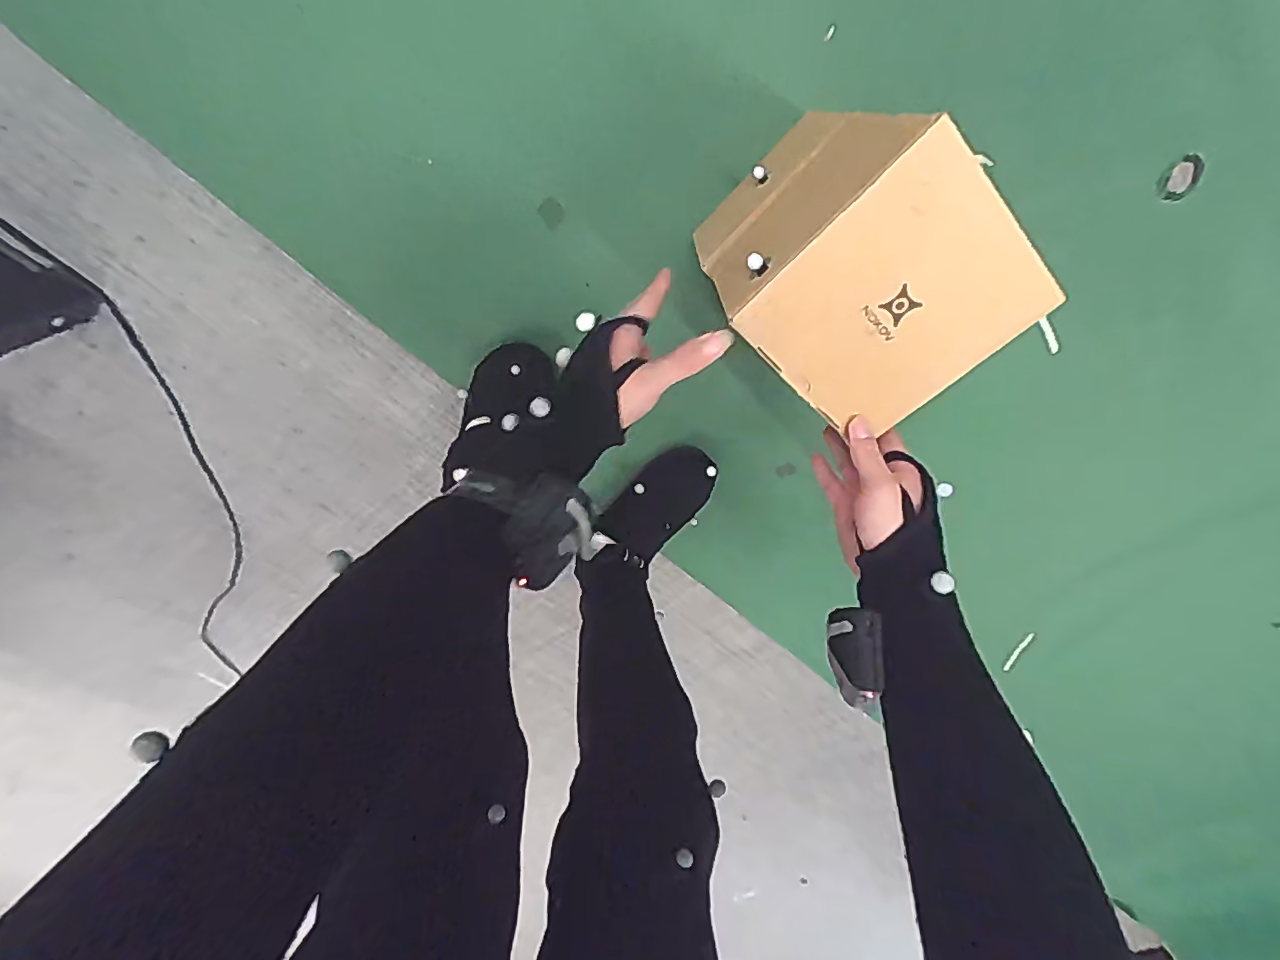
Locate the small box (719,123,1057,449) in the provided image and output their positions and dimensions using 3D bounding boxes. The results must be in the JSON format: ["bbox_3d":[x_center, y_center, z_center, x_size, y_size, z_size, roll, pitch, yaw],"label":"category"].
[{"bbox_3d":[0.184,-0.167,0.457,0.168,0.176,0.179,38,118,-22],"label":"small box"}]

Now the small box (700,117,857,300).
[{"bbox_3d":[0.180,-0.257,0.593,0.168,0.176,0.179,39,116,-23],"label":"small box"}]
